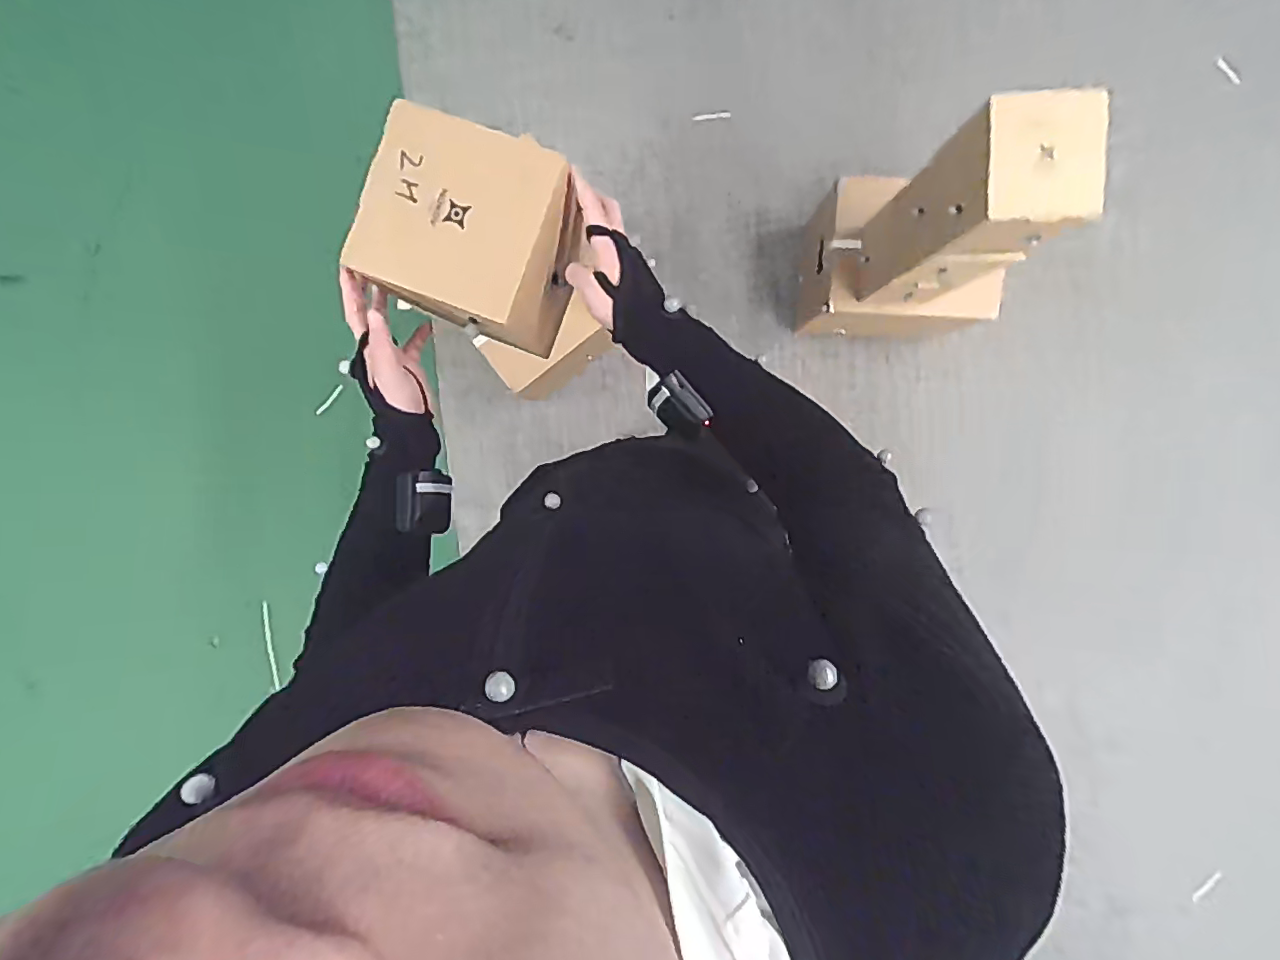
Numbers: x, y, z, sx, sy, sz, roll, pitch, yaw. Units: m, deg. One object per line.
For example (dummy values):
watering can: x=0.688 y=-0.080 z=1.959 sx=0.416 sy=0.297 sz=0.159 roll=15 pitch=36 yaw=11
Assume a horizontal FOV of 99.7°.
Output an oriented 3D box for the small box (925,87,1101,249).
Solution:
small box: x=0.573 y=-0.476 z=0.854 sx=0.168 sy=0.176 sz=0.179 roll=-1 pitch=95 yaw=1

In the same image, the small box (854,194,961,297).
small box: x=0.580 y=-0.502 z=1.179 sx=0.168 sy=0.176 sz=0.179 roll=0 pitch=96 yaw=1

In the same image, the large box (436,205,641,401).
large box: x=-0.247 y=-0.459 z=1.449 sx=0.408 sy=0.320 sz=0.320 roll=-38 pitch=92 yaw=5

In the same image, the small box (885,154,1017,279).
small box: x=0.579 y=-0.485 z=1.017 sx=0.168 sy=0.176 sz=0.179 roll=-1 pitch=95 yaw=2

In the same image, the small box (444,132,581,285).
small box: x=-0.231 y=-0.503 z=1.033 sx=0.179 sy=0.176 sz=0.168 roll=-31 pitch=94 yaw=4
